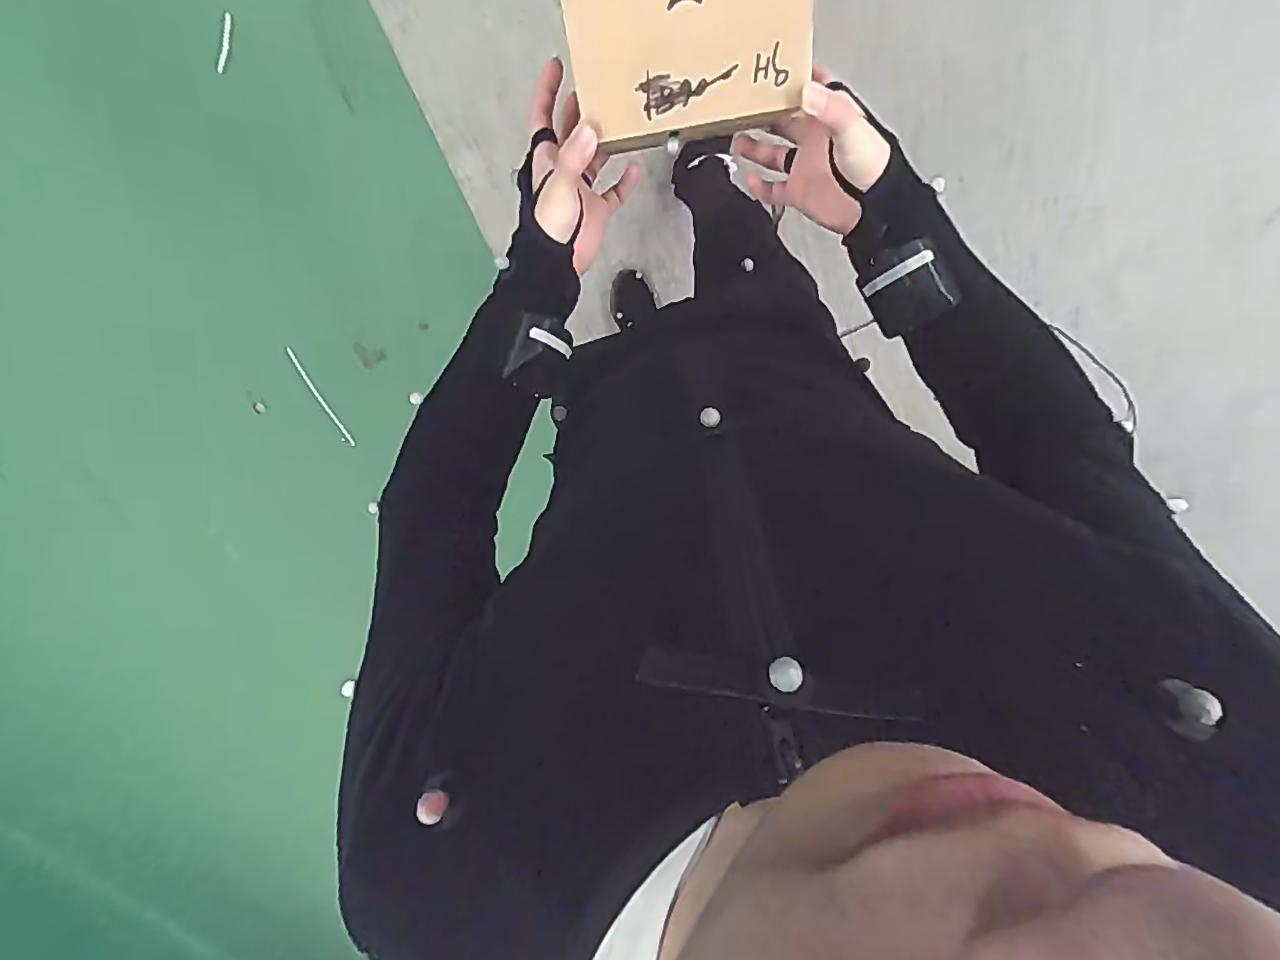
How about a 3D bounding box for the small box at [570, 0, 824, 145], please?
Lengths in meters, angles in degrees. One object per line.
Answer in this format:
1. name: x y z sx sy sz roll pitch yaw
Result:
1. small box: 0.034 -0.369 0.406 0.168 0.176 0.179 -6 118 5
